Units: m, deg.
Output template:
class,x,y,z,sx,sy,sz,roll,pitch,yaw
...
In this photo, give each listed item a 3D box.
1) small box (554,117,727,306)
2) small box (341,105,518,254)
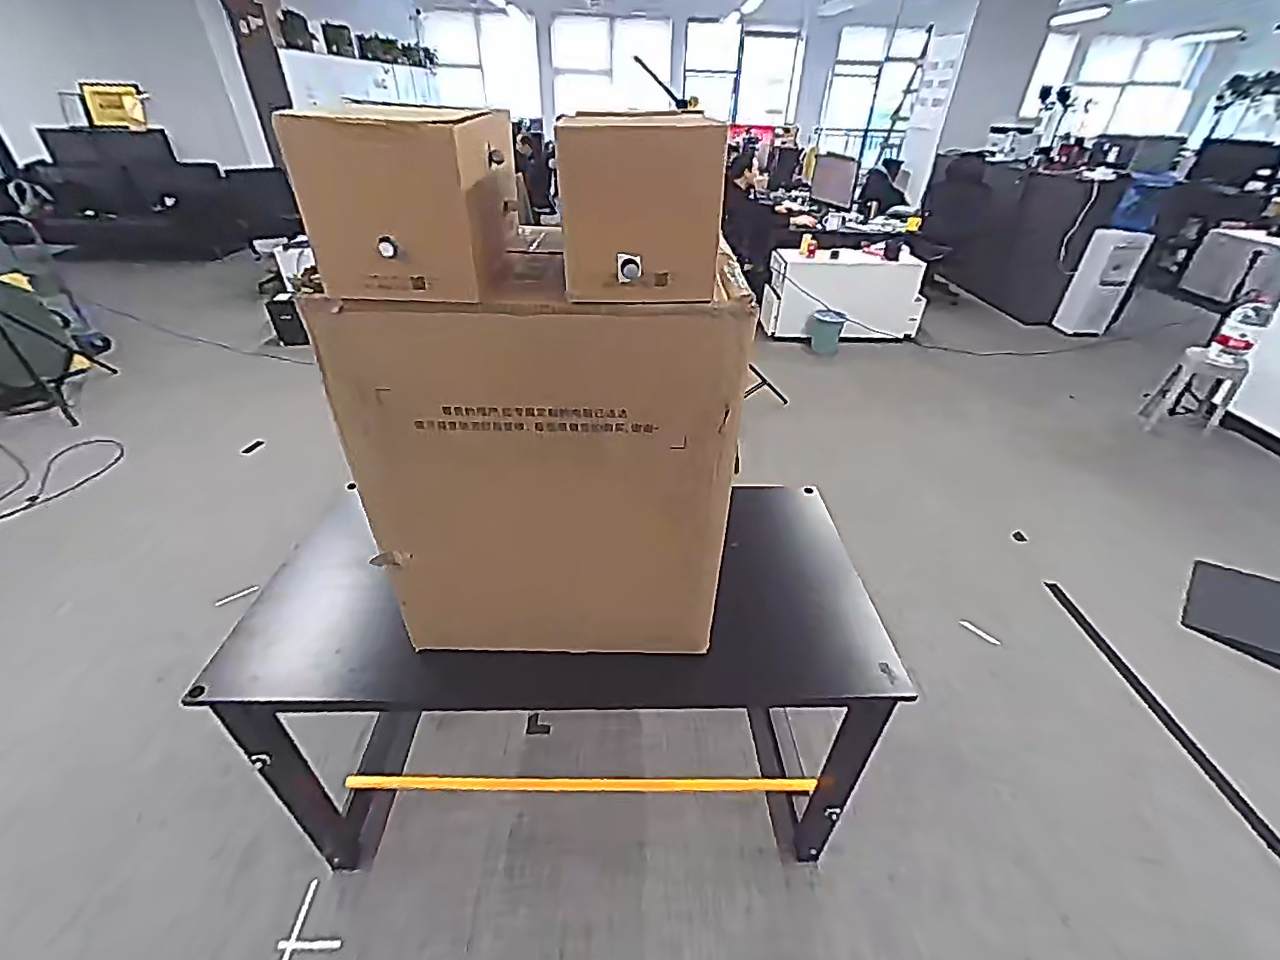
class,x,y,z,sx,sy,sz,roll,pitch,yaw
small box,-0.003,-0.307,0.616,0.168,0.176,0.179,-3,37,-2
small box,-0.280,-0.423,0.765,0.179,0.176,0.168,2,34,-1
